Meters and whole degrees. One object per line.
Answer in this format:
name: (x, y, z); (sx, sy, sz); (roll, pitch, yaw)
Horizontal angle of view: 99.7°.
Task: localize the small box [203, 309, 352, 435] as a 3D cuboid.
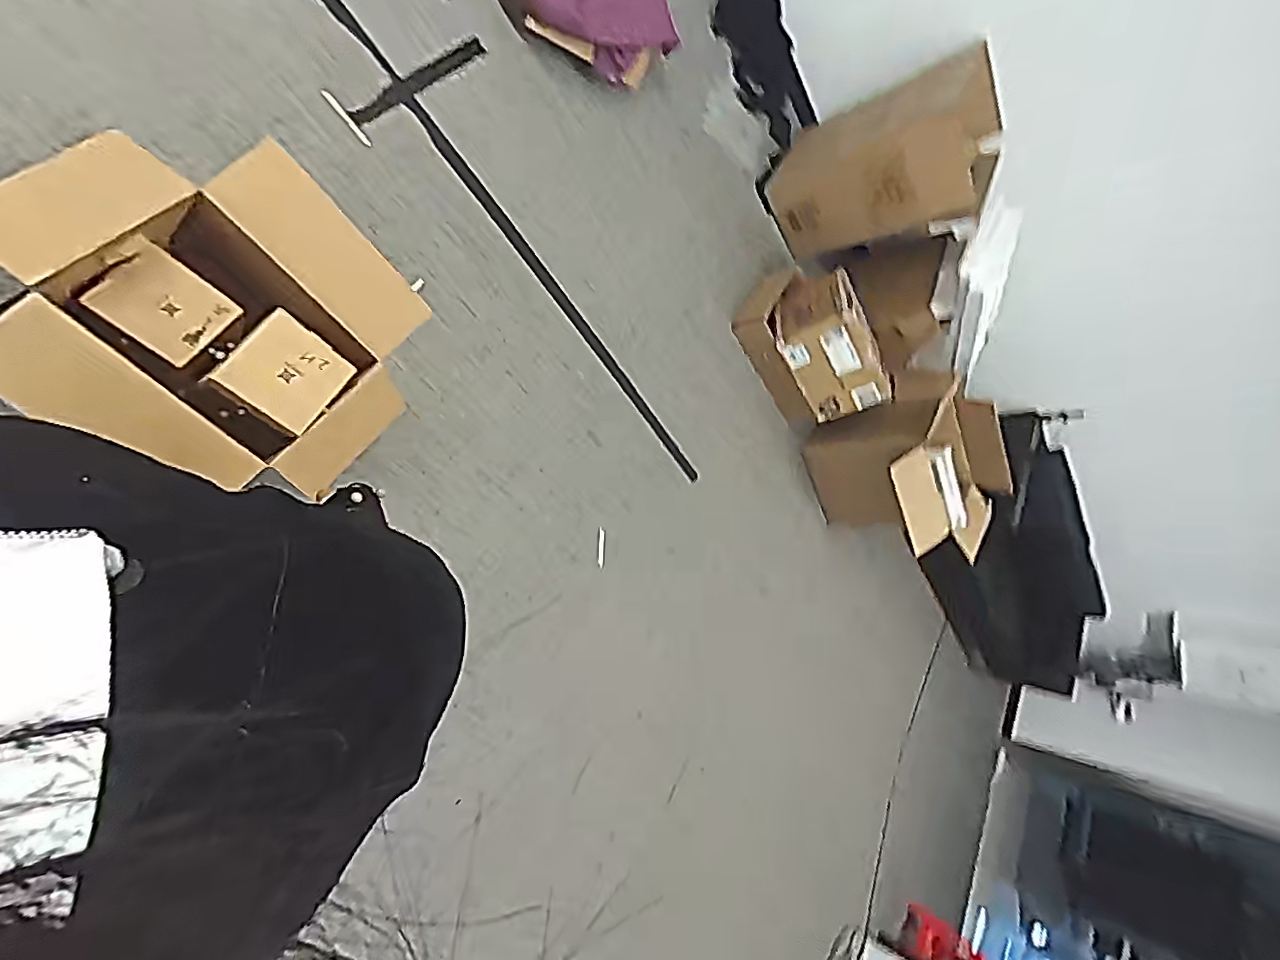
small box: (-0.712, -0.203, 1.059); (0.168, 0.176, 0.179); (47, 62, -37)
